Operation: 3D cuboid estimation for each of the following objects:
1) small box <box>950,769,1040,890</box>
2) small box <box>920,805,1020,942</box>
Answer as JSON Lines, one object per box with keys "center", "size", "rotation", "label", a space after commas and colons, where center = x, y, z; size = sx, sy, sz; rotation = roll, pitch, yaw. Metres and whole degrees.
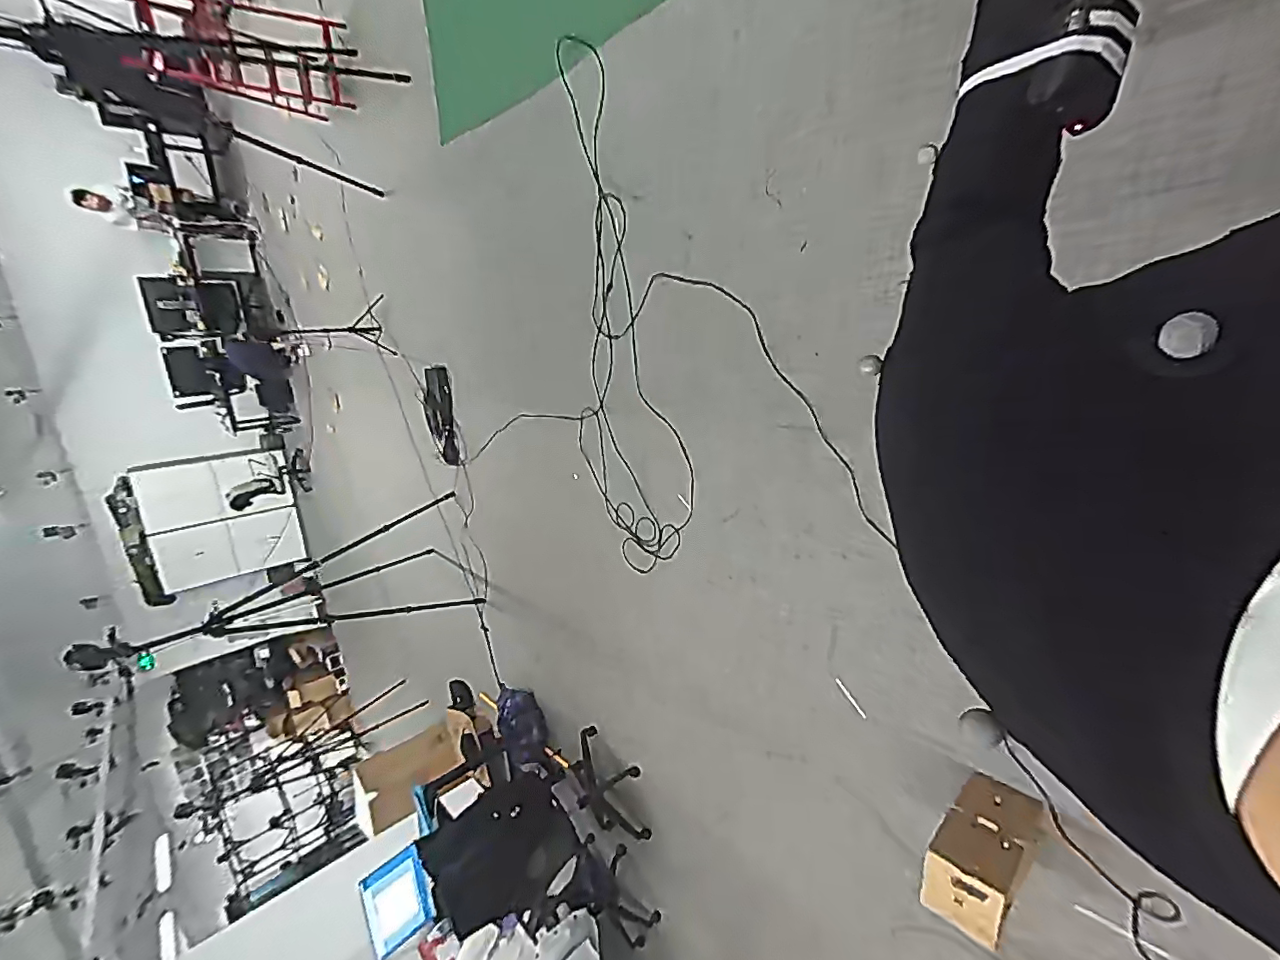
{"center": [0.944, 0.920, 1.444], "size": [0.168, 0.176, 0.179], "rotation": [12, 110, 49], "label": "small box"}
{"center": [0.820, 0.961, 1.340], "size": [0.168, 0.176, 0.179], "rotation": [15, 114, 45], "label": "small box"}
